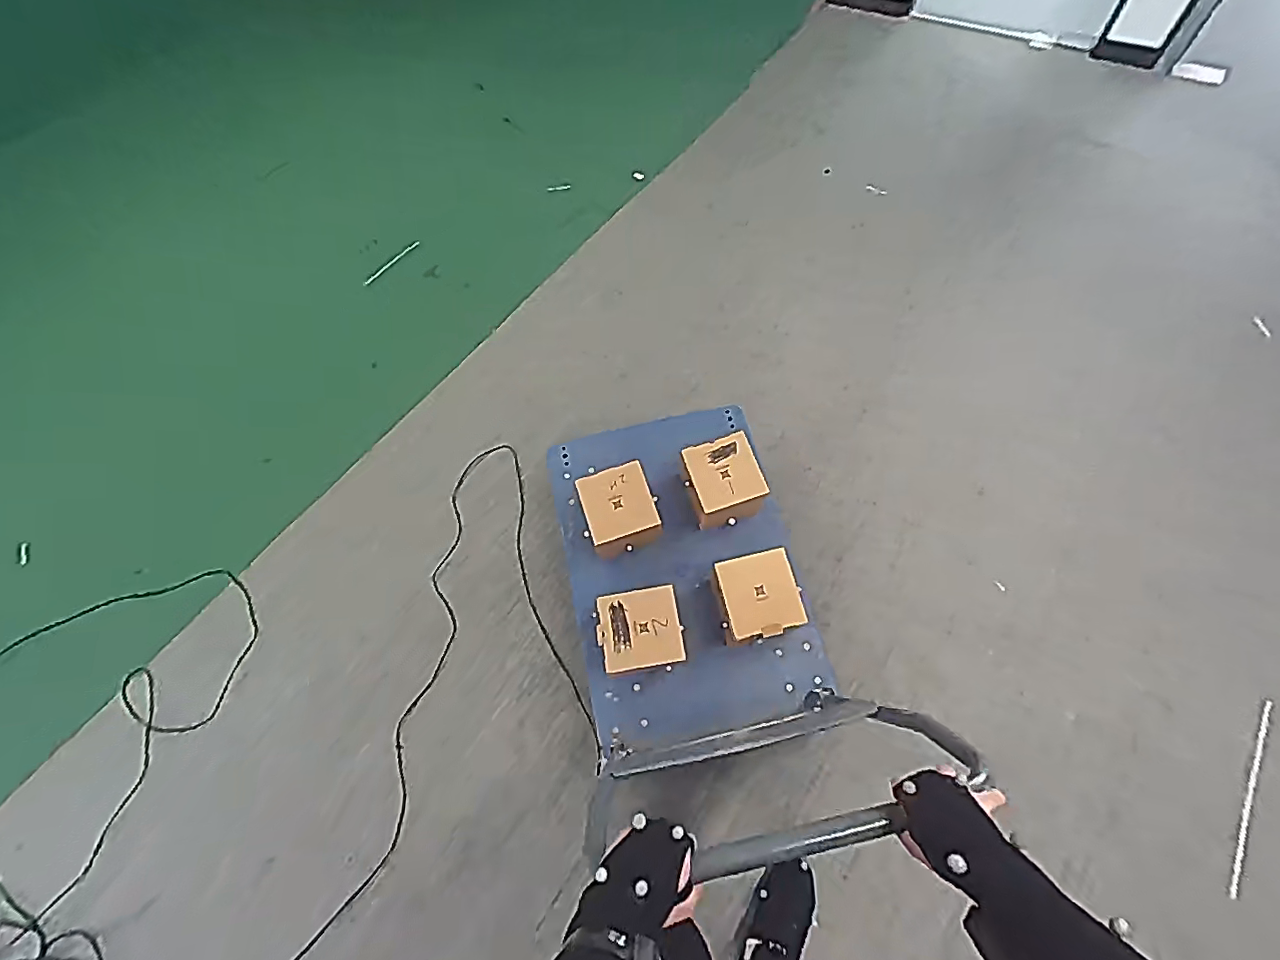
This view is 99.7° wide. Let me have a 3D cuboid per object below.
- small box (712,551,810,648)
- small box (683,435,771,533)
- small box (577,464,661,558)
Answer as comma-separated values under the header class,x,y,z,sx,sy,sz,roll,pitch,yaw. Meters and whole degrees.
class,x,y,z,sx,sy,sz,roll,pitch,yaw
small box,0.273,0.284,1.265,0.168,0.176,0.179,-13,69,-2
small box,0.212,0.015,1.373,0.168,0.176,0.179,-17,69,-4
small box,-0.047,0.087,1.356,0.168,0.176,0.179,-17,69,-5
